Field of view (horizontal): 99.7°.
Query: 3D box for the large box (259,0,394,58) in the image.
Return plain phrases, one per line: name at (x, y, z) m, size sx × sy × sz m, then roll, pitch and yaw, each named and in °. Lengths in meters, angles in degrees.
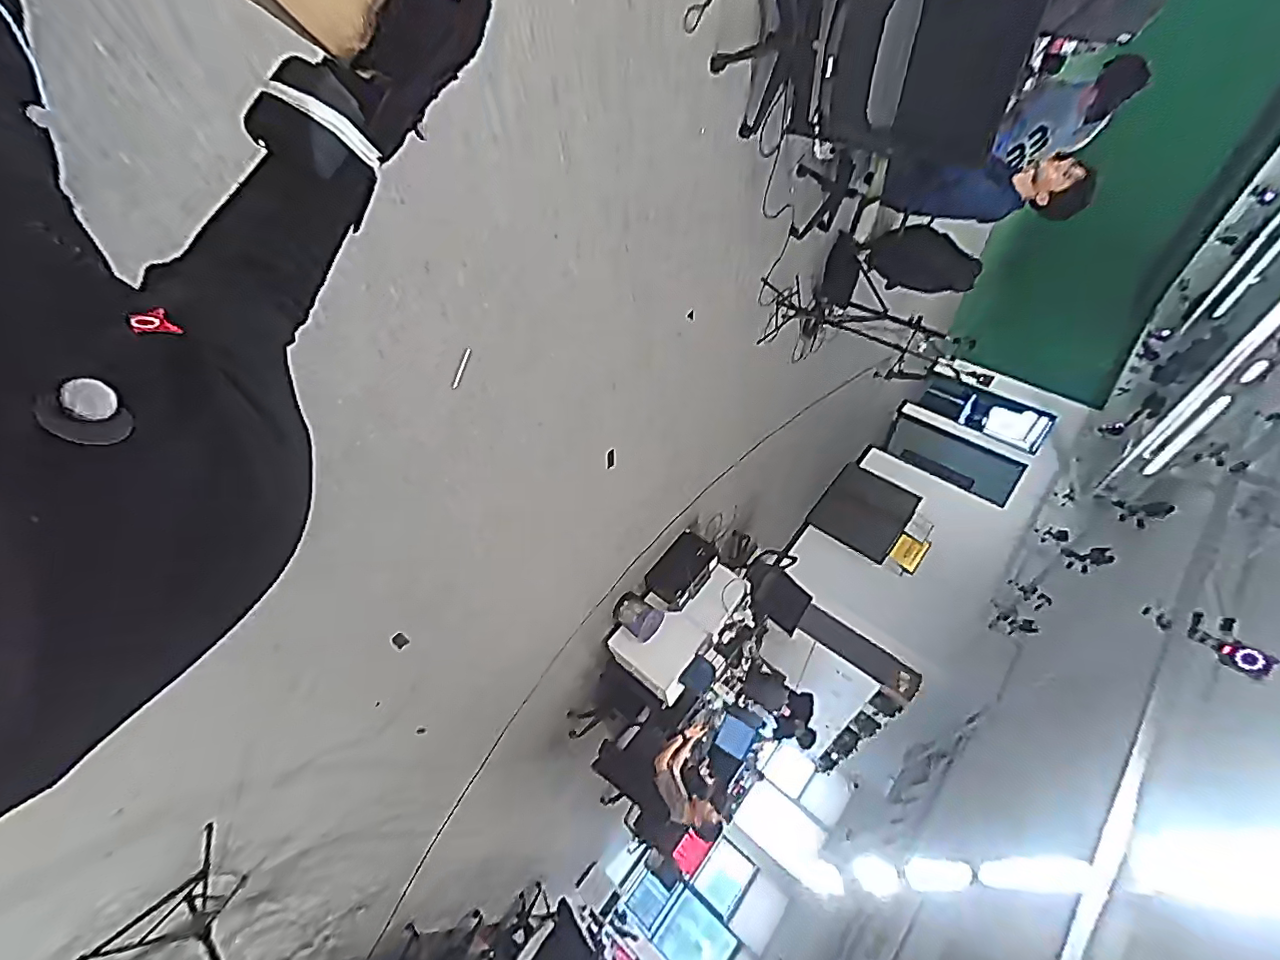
large box at (-0.310, -0.571, 0.292) m, size 0.320 × 0.320 × 0.408 m, roll -49°, pitch 155°, yaw 7°
